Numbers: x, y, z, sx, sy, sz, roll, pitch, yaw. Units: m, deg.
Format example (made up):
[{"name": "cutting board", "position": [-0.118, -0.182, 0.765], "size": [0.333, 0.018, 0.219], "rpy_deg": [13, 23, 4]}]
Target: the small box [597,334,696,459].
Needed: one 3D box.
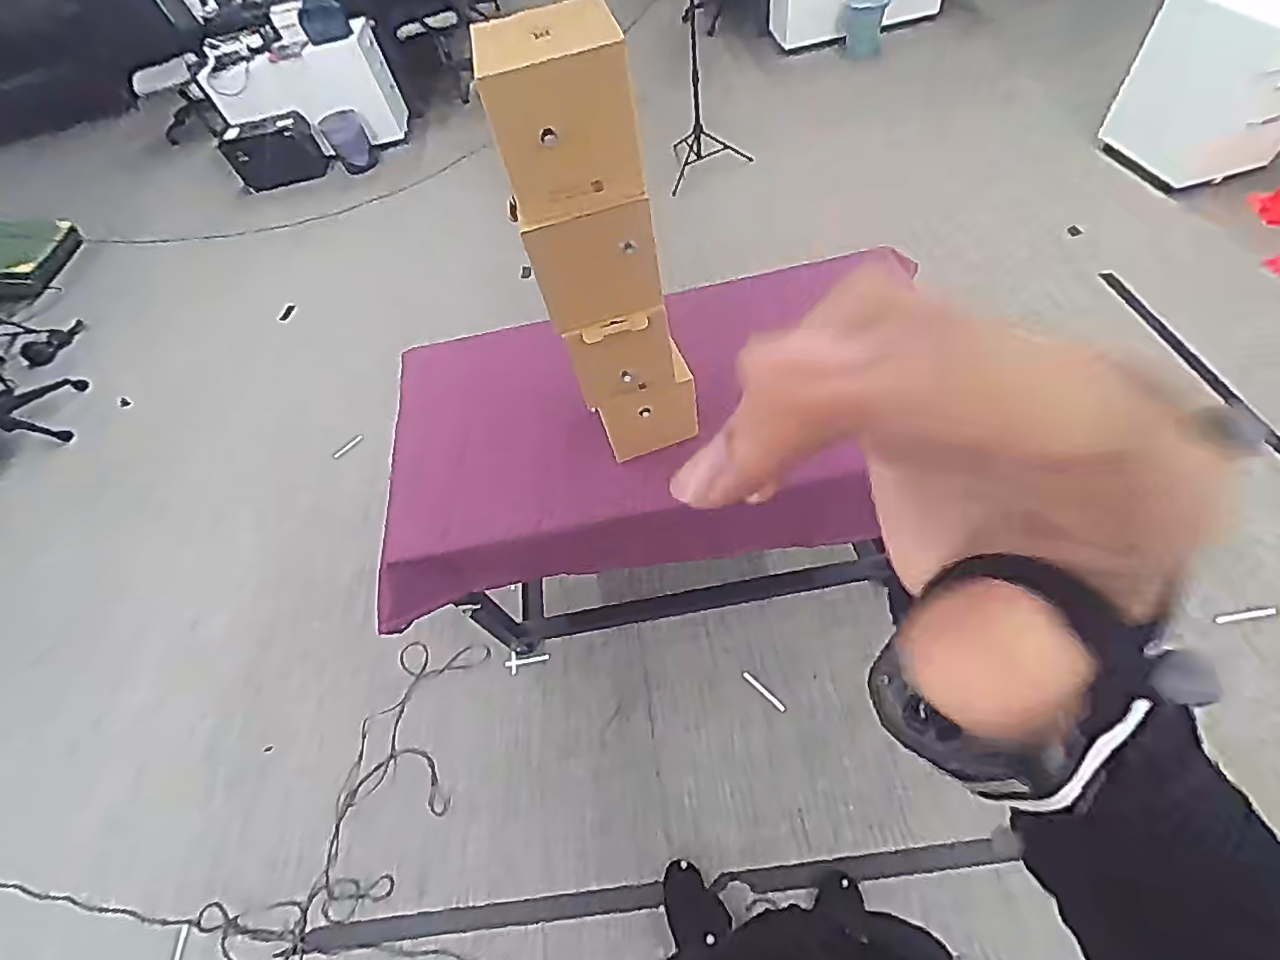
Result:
[{"name": "small box", "position": [0.000, -0.167, 1.061], "size": [0.179, 0.176, 0.168], "rpy_deg": [-20, 56, -4]}]

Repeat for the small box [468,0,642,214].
[{"name": "small box", "position": [-0.101, -0.458, 0.676], "size": [0.168, 0.176, 0.179], "rpy_deg": [-15, 54, 0]}]

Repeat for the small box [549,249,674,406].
[{"name": "small box", "position": [-0.047, -0.258, 0.930], "size": [0.168, 0.176, 0.179], "rpy_deg": [-16, 56, 1]}]
